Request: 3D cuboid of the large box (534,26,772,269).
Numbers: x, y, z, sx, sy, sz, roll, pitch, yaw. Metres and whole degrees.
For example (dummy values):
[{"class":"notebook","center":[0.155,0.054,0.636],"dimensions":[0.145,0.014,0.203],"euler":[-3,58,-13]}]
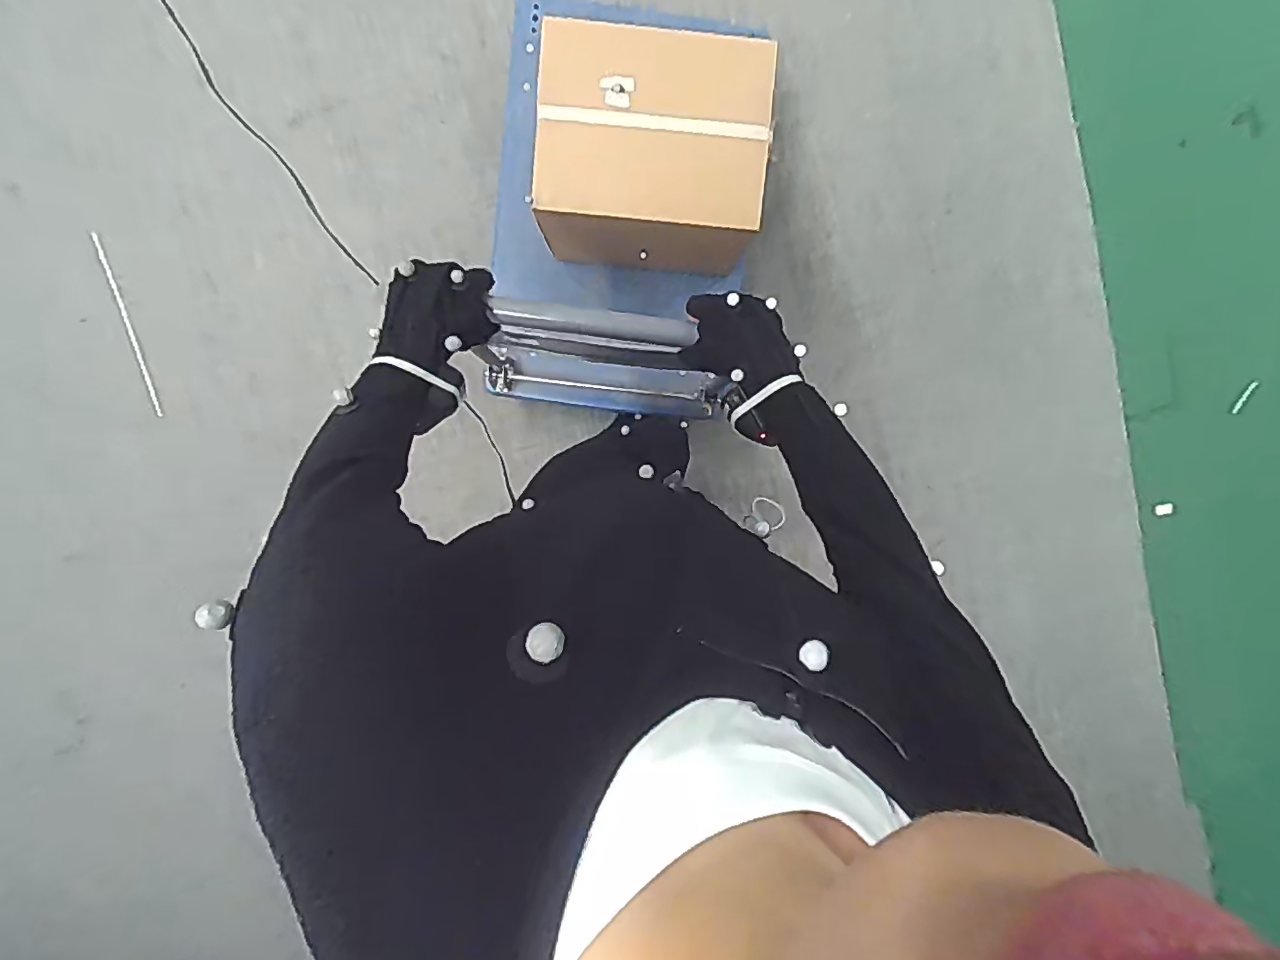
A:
[{"class":"large box","center":[0.022,-0.632,1.090],"dimensions":[0.408,0.320,0.320],"euler":[5,96,0]}]
